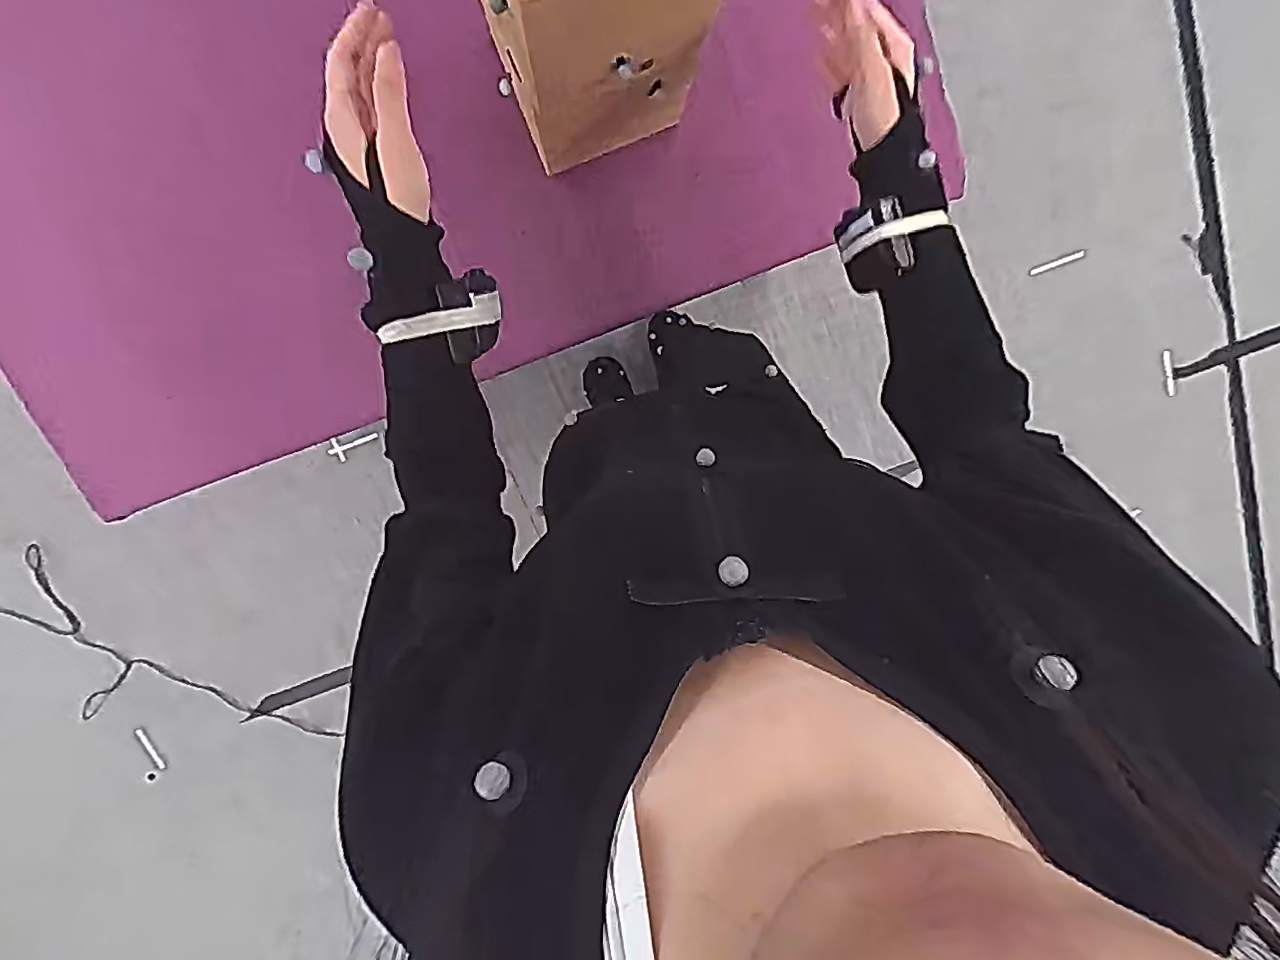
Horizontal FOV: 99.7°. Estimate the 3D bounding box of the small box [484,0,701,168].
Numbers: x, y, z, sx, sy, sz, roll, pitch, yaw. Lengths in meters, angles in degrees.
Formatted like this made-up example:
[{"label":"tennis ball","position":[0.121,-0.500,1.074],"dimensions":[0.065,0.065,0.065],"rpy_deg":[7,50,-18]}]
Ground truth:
[{"label":"small box","position":[-0.057,-0.466,0.567],"dimensions":[0.179,0.176,0.168],"rpy_deg":[-22,102,1]}]
